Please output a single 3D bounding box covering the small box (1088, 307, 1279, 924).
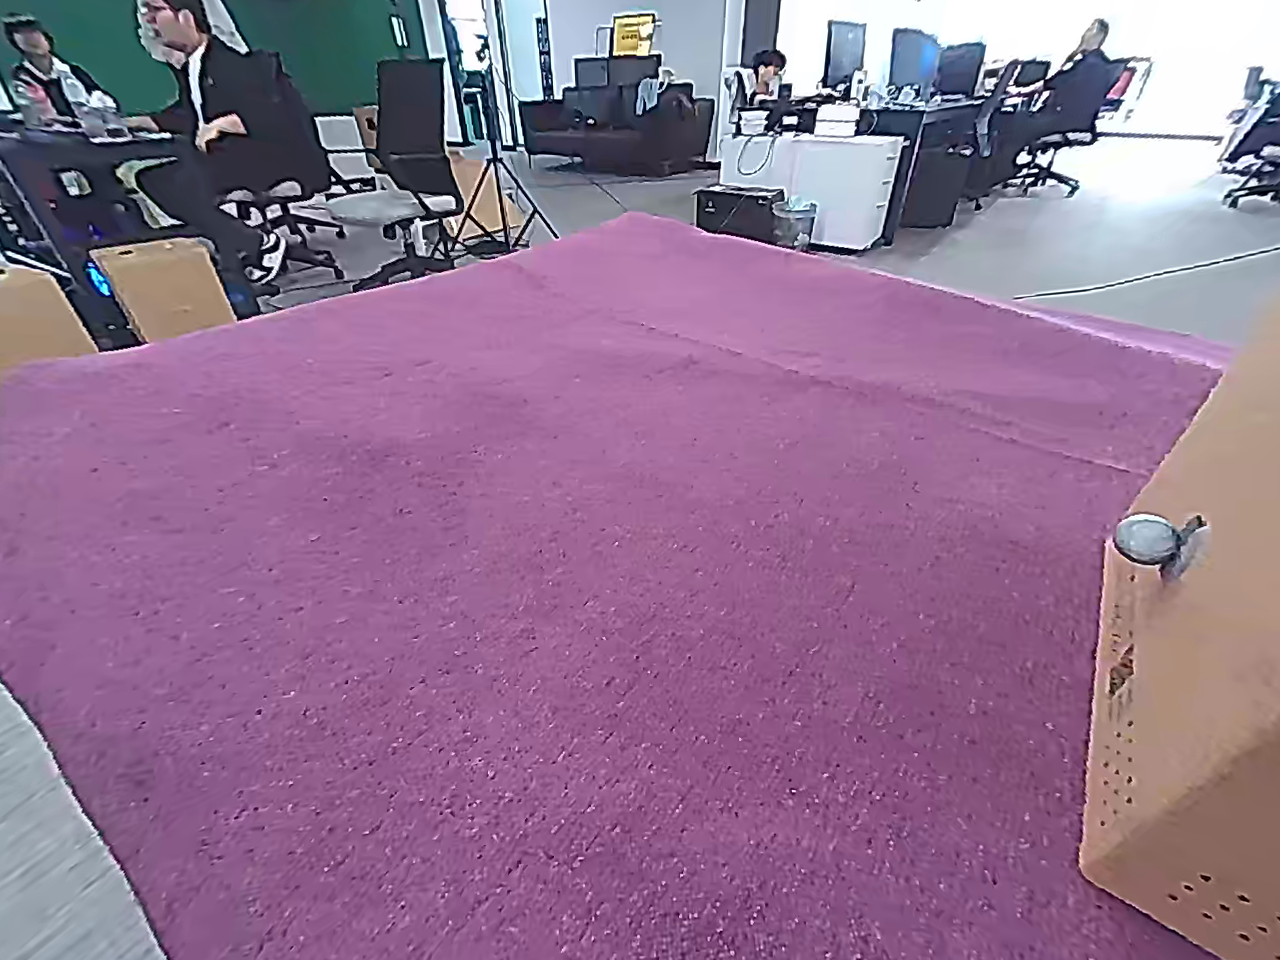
[{"bbox_3d":[0.239,0.022,0.108,0.179,0.176,0.168,23,41,29],"label":"small box"}]

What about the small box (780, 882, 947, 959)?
[{"bbox_3d":[0.200,0.529,0.480,0.179,0.176,0.168,17,7,32],"label":"small box"}]

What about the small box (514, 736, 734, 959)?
[{"bbox_3d":[-0.018,0.441,0.606,0.179,0.176,0.168,21,34,27],"label":"small box"}]
